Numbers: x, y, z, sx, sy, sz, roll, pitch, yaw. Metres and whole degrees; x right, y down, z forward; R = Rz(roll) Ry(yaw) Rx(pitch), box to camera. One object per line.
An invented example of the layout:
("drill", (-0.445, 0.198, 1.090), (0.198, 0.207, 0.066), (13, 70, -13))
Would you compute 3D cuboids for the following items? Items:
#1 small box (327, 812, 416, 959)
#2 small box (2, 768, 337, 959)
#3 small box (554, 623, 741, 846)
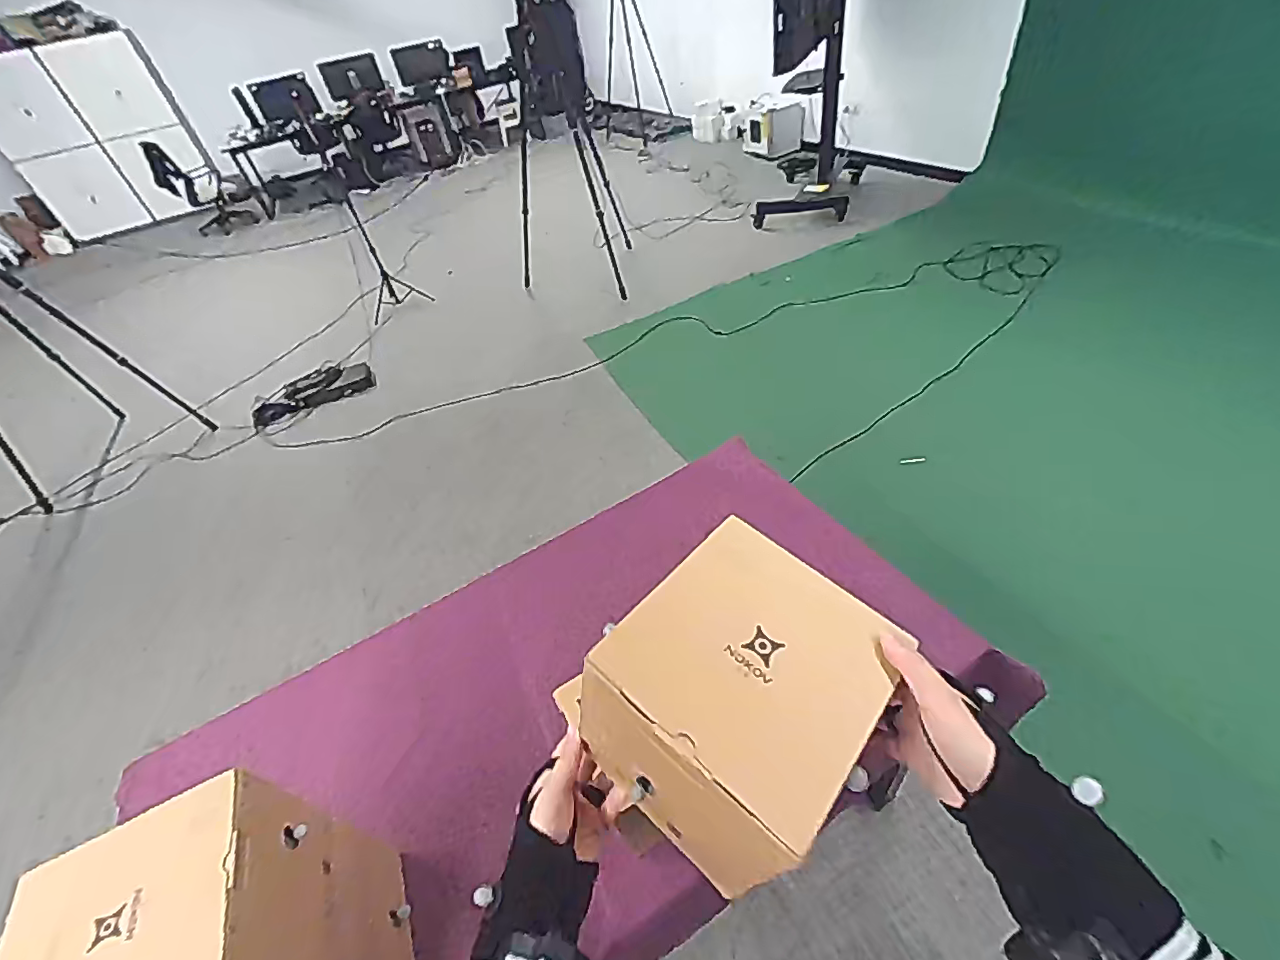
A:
("small box", (-0.363, 0.513, 0.588), (0.168, 0.176, 0.179), (-26, 44, -13))
("small box", (-0.390, 0.398, 0.475), (0.179, 0.176, 0.168), (-25, 44, -12))
("small box", (0.016, 0.326, 0.692), (0.179, 0.176, 0.168), (-26, 45, -15))
